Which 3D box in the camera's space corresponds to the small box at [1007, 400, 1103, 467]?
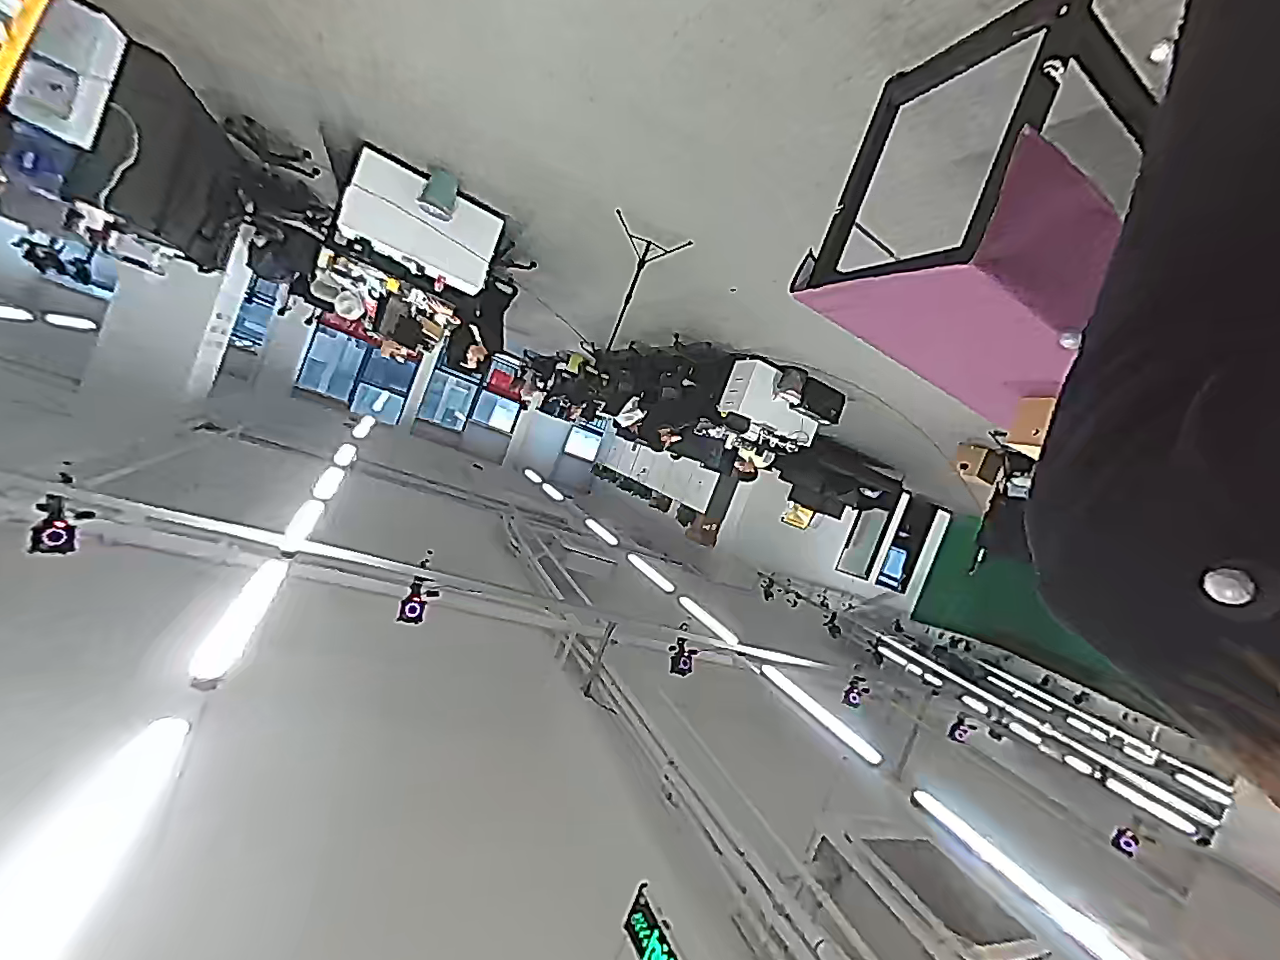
[{"bbox_3d":[1.359,-0.156,1.763,0.168,0.176,0.179,21,-177,-16],"label":"small box"}]
